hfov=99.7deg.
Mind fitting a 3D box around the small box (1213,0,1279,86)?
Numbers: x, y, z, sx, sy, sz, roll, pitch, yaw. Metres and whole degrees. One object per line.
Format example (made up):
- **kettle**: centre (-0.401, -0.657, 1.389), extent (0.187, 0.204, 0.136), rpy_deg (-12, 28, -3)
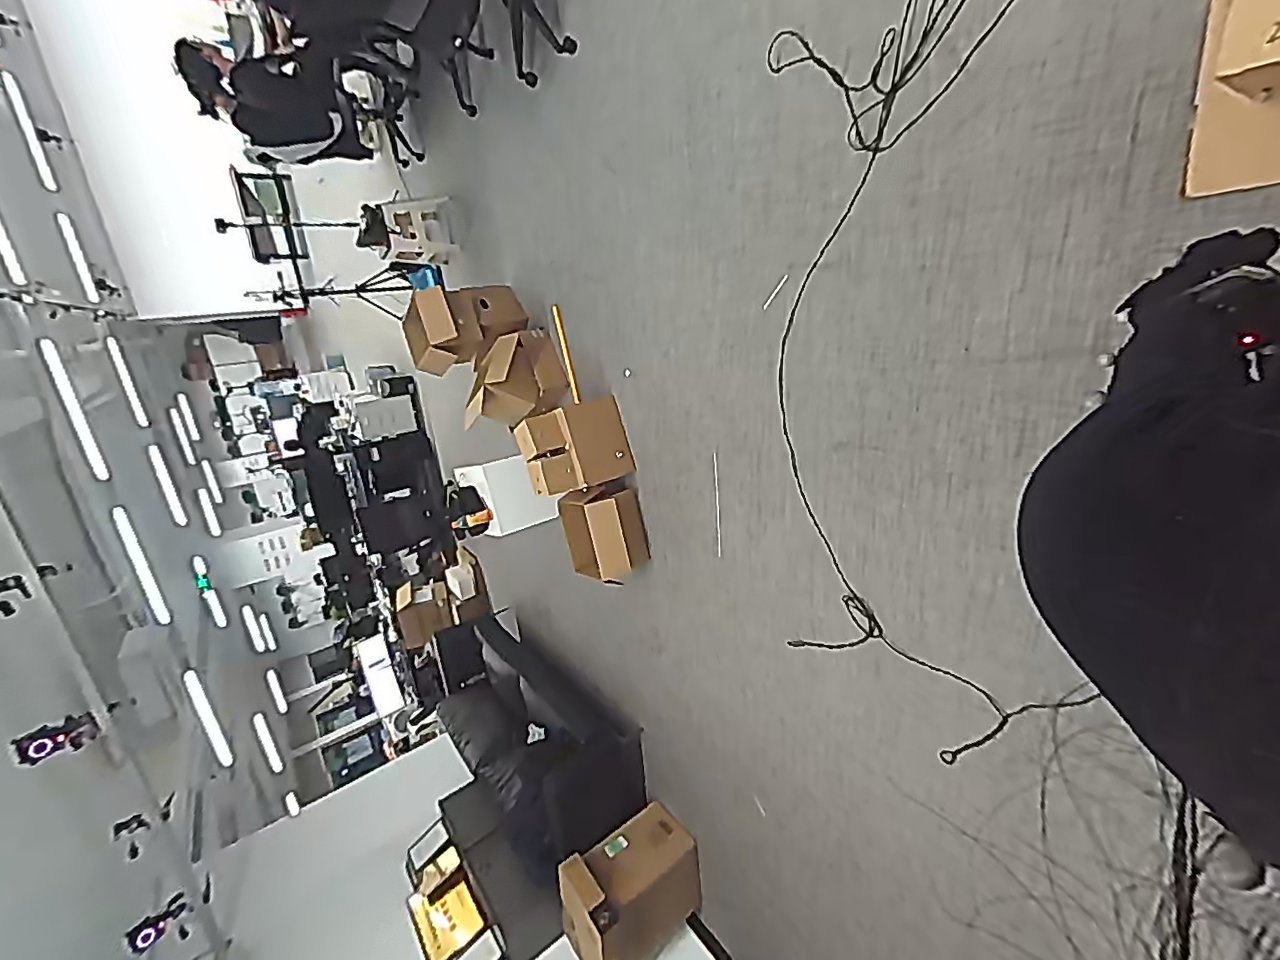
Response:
- **small box**: centre (0.892, -0.643, 0.696), extent (0.168, 0.176, 0.179), rpy_deg (21, 122, 51)
